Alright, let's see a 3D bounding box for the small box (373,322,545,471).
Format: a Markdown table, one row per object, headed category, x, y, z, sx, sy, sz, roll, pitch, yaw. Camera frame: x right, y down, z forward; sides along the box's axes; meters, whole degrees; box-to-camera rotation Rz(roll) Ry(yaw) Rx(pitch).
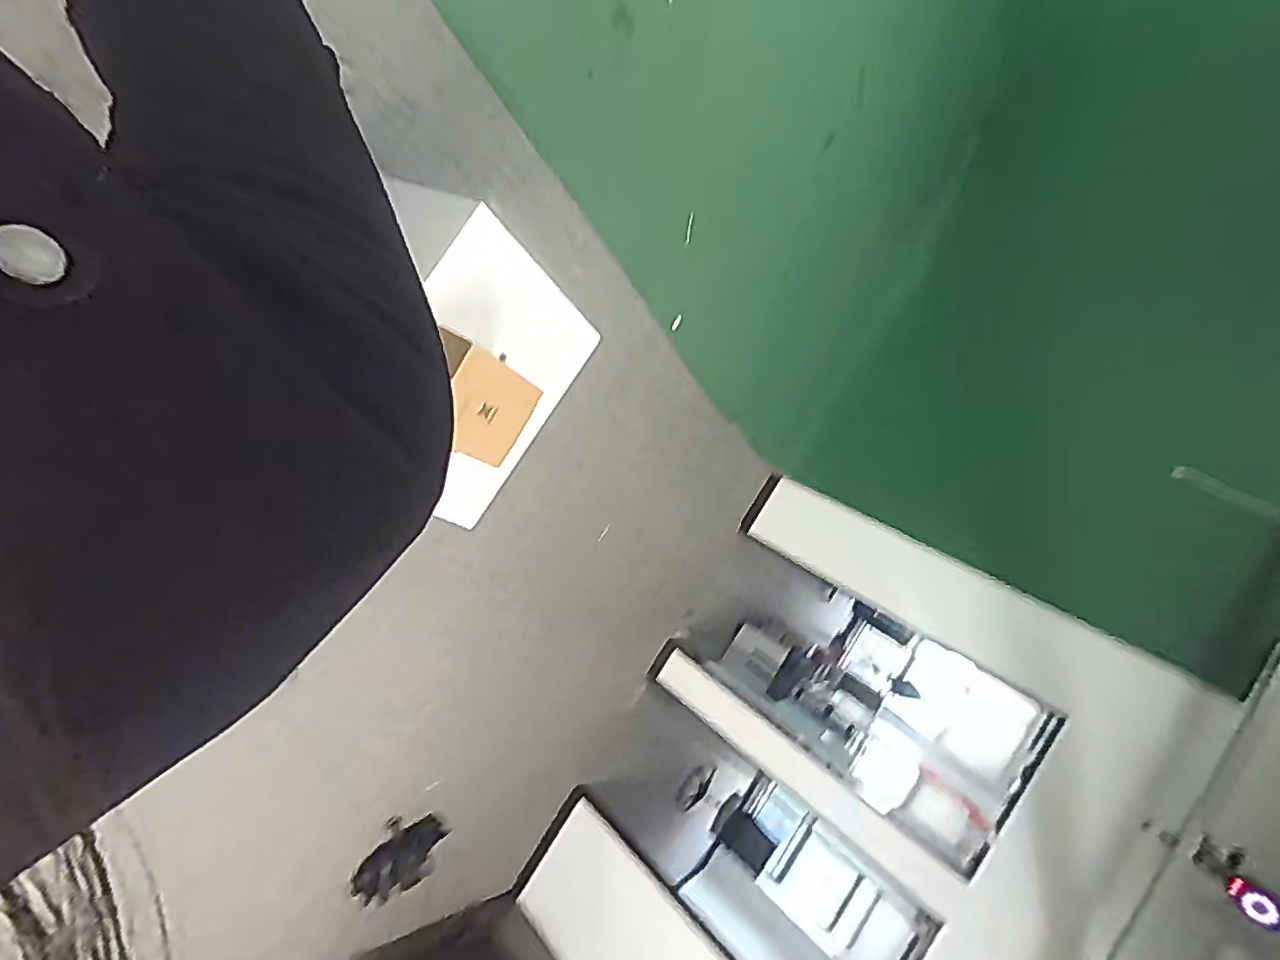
| category | x | y | z | sx | sy | sz | roll | pitch | yaw |
| --- | --- | --- | --- | --- | --- | --- | --- | --- | --- |
| small box | -0.300 | -0.140 | 0.902 | 0.179 | 0.176 | 0.168 | 29 | 91 | -56 |
